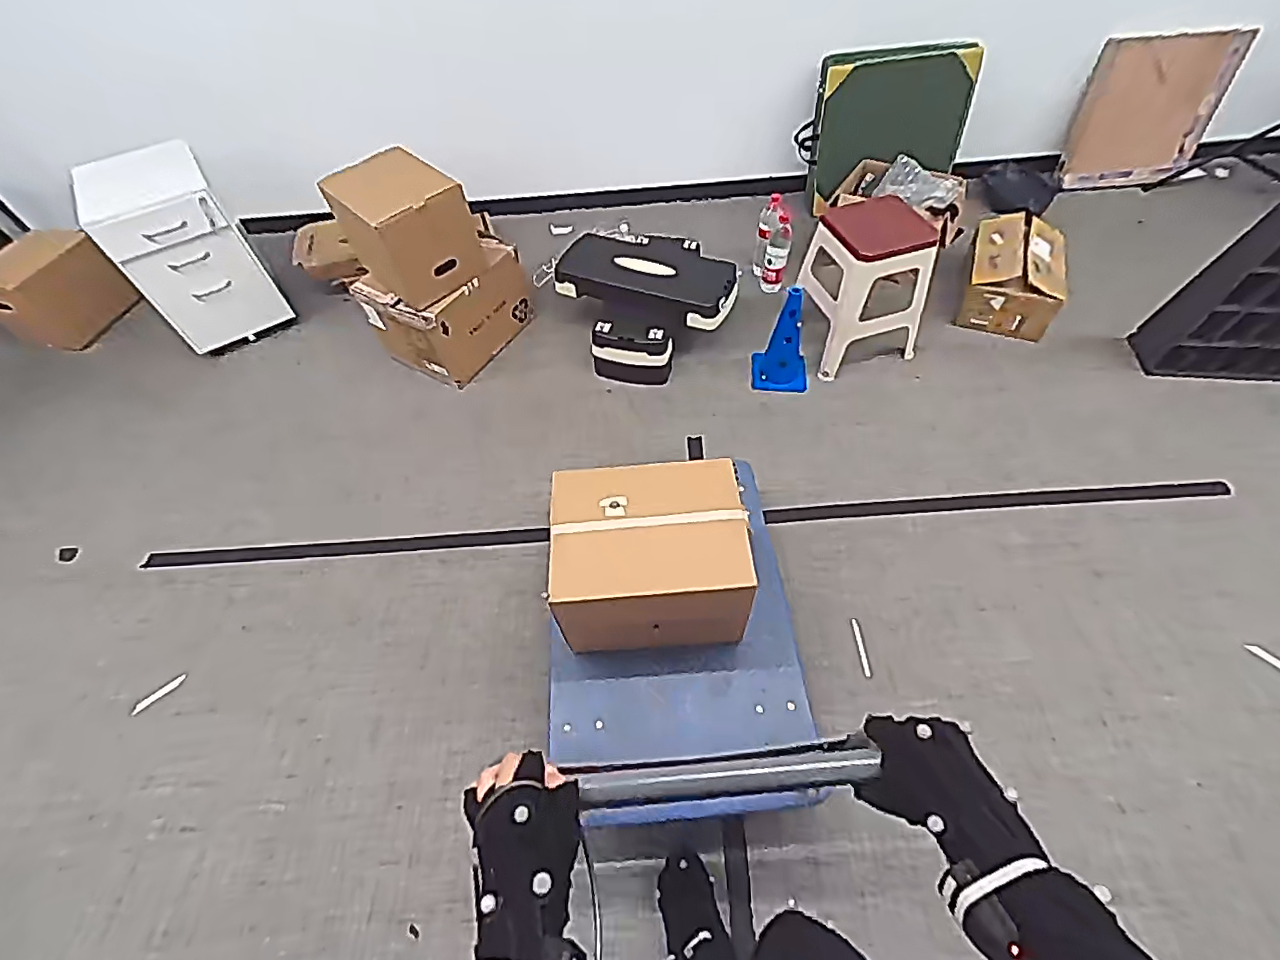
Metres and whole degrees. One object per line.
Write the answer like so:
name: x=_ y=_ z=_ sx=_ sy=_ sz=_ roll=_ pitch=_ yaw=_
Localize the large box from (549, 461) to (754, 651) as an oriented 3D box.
large box: x=0.023 y=0.185 z=1.247 sx=0.408 sy=0.320 sz=0.320 roll=-5 pitch=54 yaw=1
